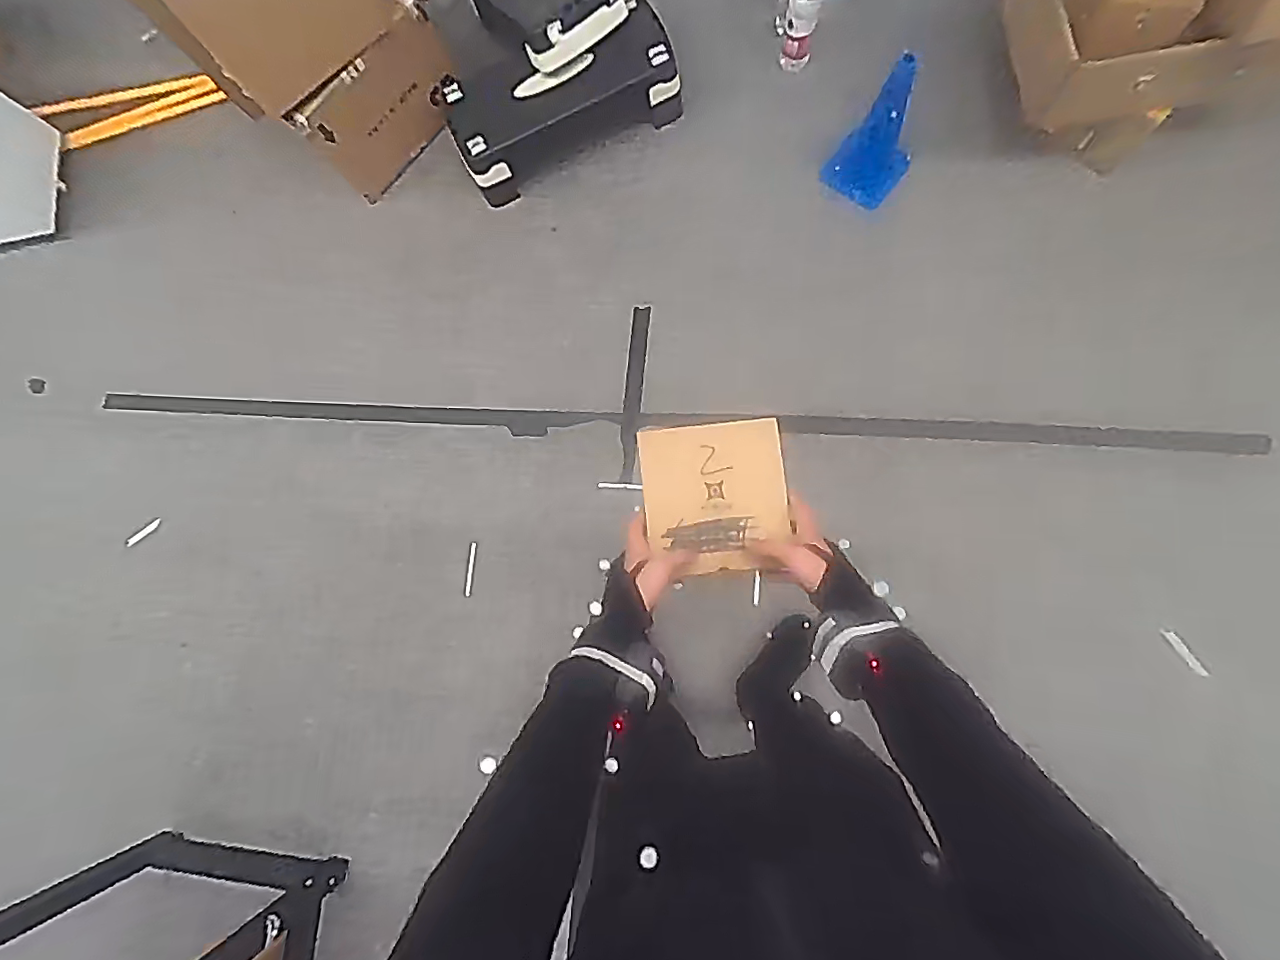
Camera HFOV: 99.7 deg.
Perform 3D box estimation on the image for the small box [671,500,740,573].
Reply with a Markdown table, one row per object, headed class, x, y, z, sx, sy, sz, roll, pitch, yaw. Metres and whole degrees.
| class | x | y | z | sx | sy | sz | roll | pitch | yaw |
| --- | --- | --- | --- | --- | --- | --- | --- | --- | --- |
| small box | 0.167 | 0.148 | 1.389 | 0.168 | 0.176 | 0.179 | 0 | 82 | 7 |
